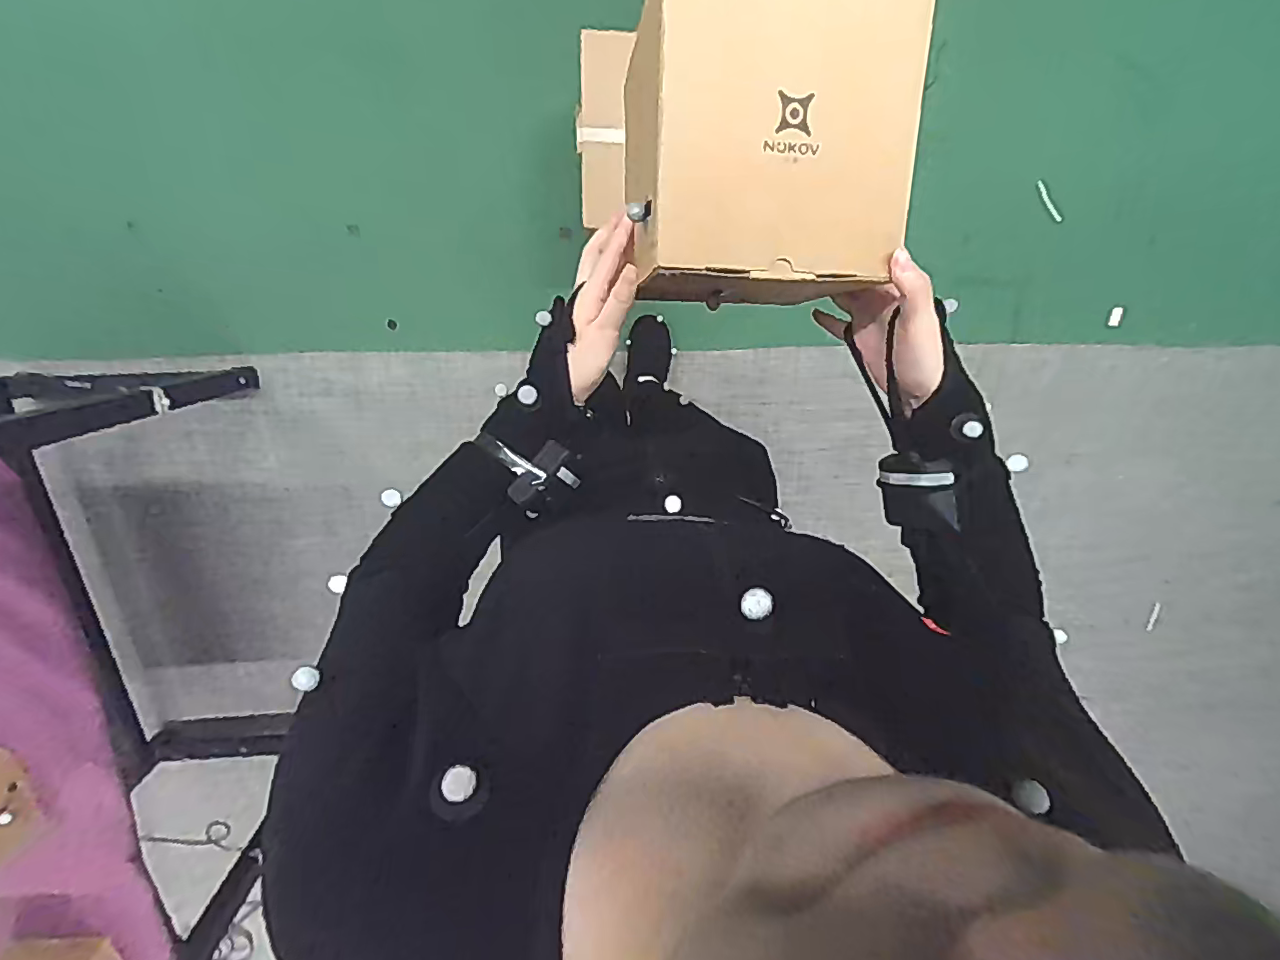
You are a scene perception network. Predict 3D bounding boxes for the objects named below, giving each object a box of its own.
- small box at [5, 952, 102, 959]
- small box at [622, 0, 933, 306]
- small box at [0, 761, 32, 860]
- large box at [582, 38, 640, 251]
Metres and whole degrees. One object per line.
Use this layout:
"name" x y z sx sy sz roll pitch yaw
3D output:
"small box" -1.038 0.930 0.897 0.179 0.176 0.168 -2 109 -1
"small box" 0.078 -0.230 0.397 0.168 0.176 0.179 -1 103 -9
"small box" -1.049 0.517 0.760 0.179 0.176 0.168 0 109 -3
"large box" 0.088 -0.656 1.121 0.408 0.320 0.320 0 109 -4
